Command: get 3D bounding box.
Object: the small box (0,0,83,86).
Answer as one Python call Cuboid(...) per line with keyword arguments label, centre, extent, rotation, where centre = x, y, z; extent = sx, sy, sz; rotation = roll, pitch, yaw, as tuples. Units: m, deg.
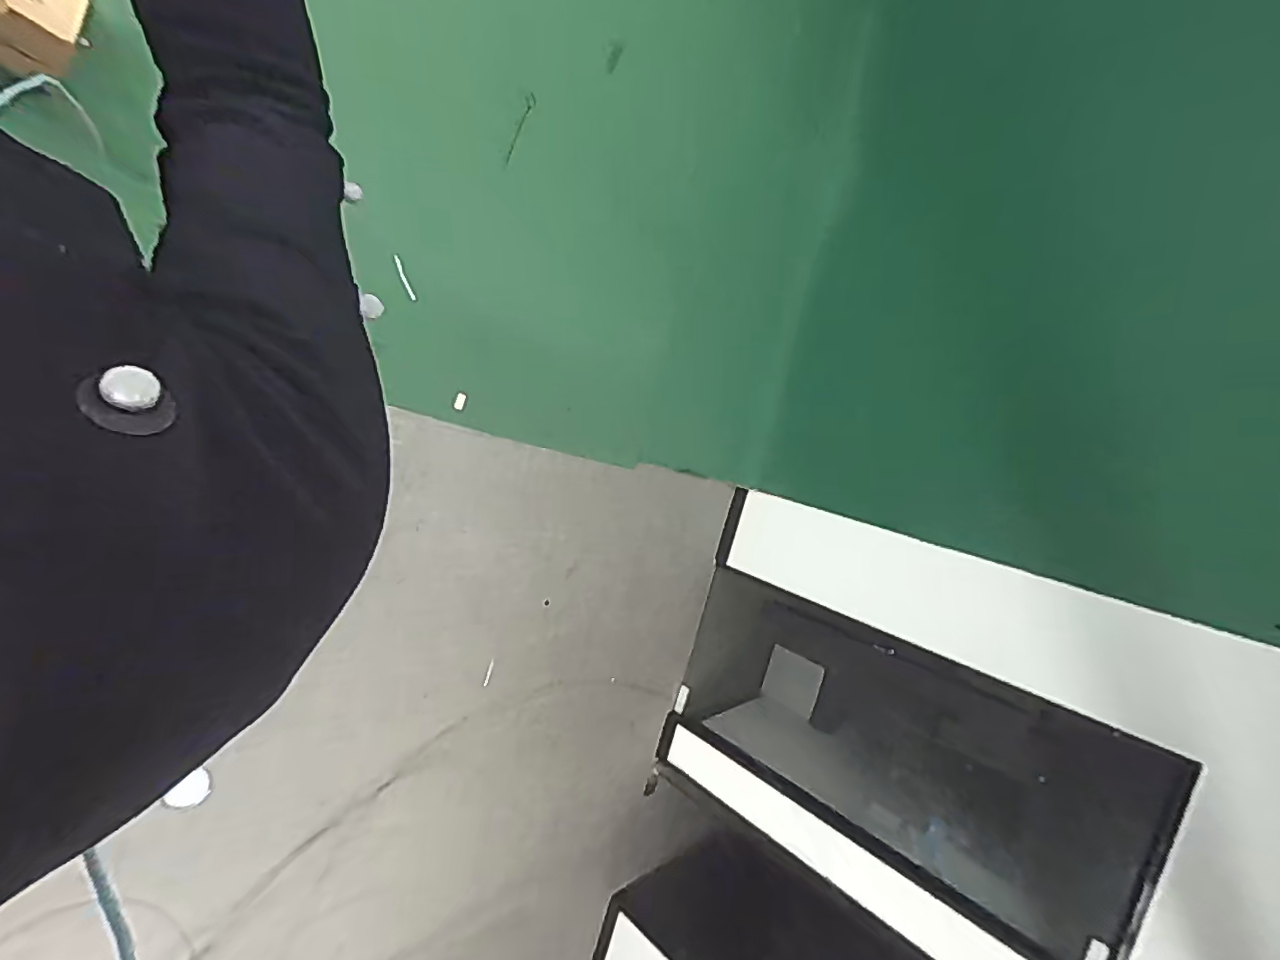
Cuboid(label="small box", centre=(-0.971, -0.740, 0.815), extent=(0.168, 0.176, 0.179), rotation=(14, 95, -52))
